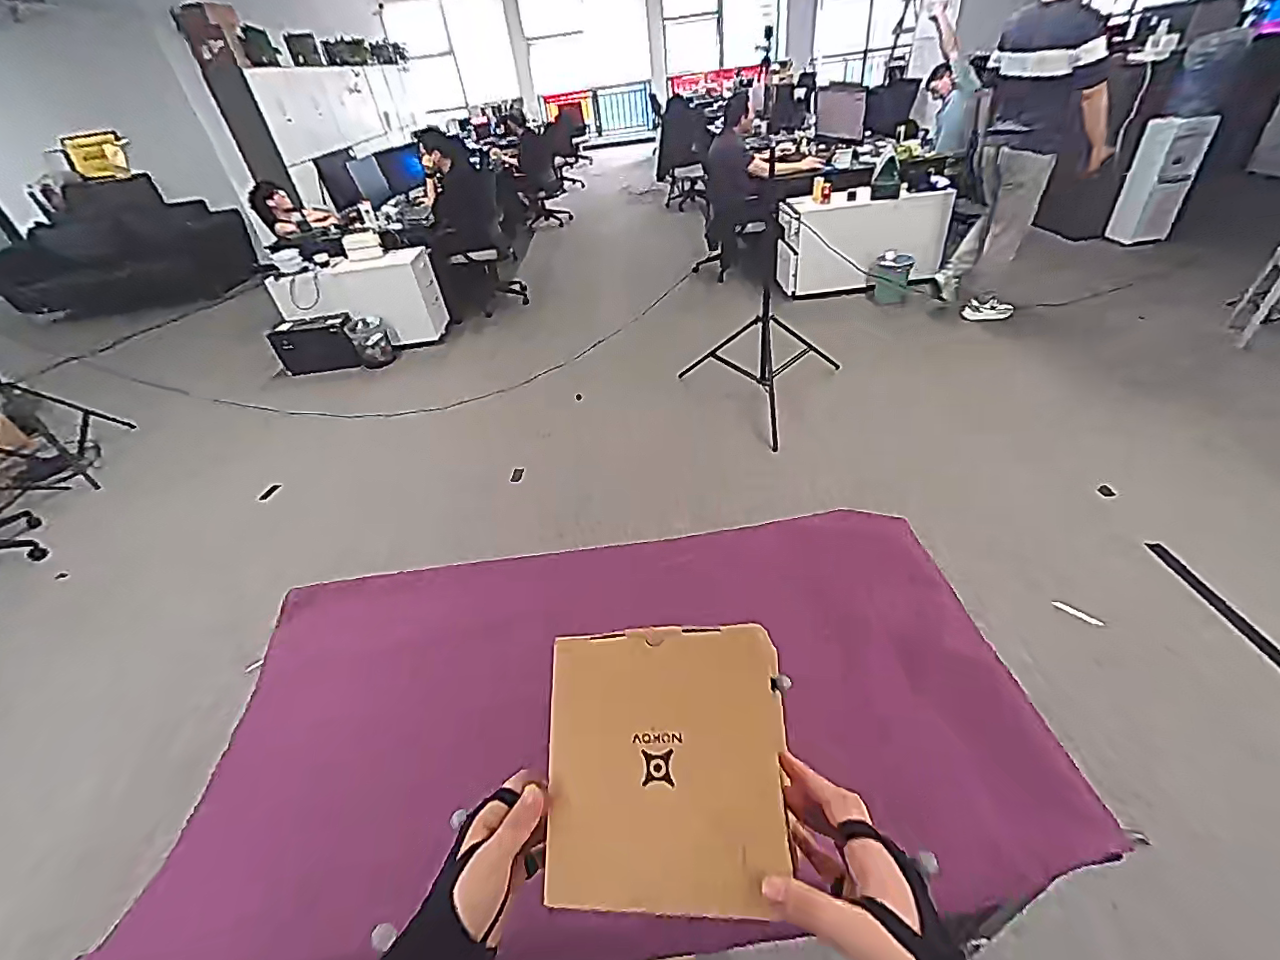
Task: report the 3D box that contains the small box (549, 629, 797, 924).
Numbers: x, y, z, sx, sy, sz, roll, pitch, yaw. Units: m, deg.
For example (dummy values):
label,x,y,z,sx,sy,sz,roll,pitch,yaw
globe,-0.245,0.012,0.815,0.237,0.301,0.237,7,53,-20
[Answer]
label,x,y,z,sx,sy,sz,roll,pitch,yaw
small box,0.037,0.225,0.447,0.168,0.176,0.179,-7,65,13

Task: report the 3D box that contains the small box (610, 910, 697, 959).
label,x,y,z,sx,sy,sz,roll,pitch,yaw
small box,0.029,0.932,1.154,0.168,0.176,0.179,-6,37,2
